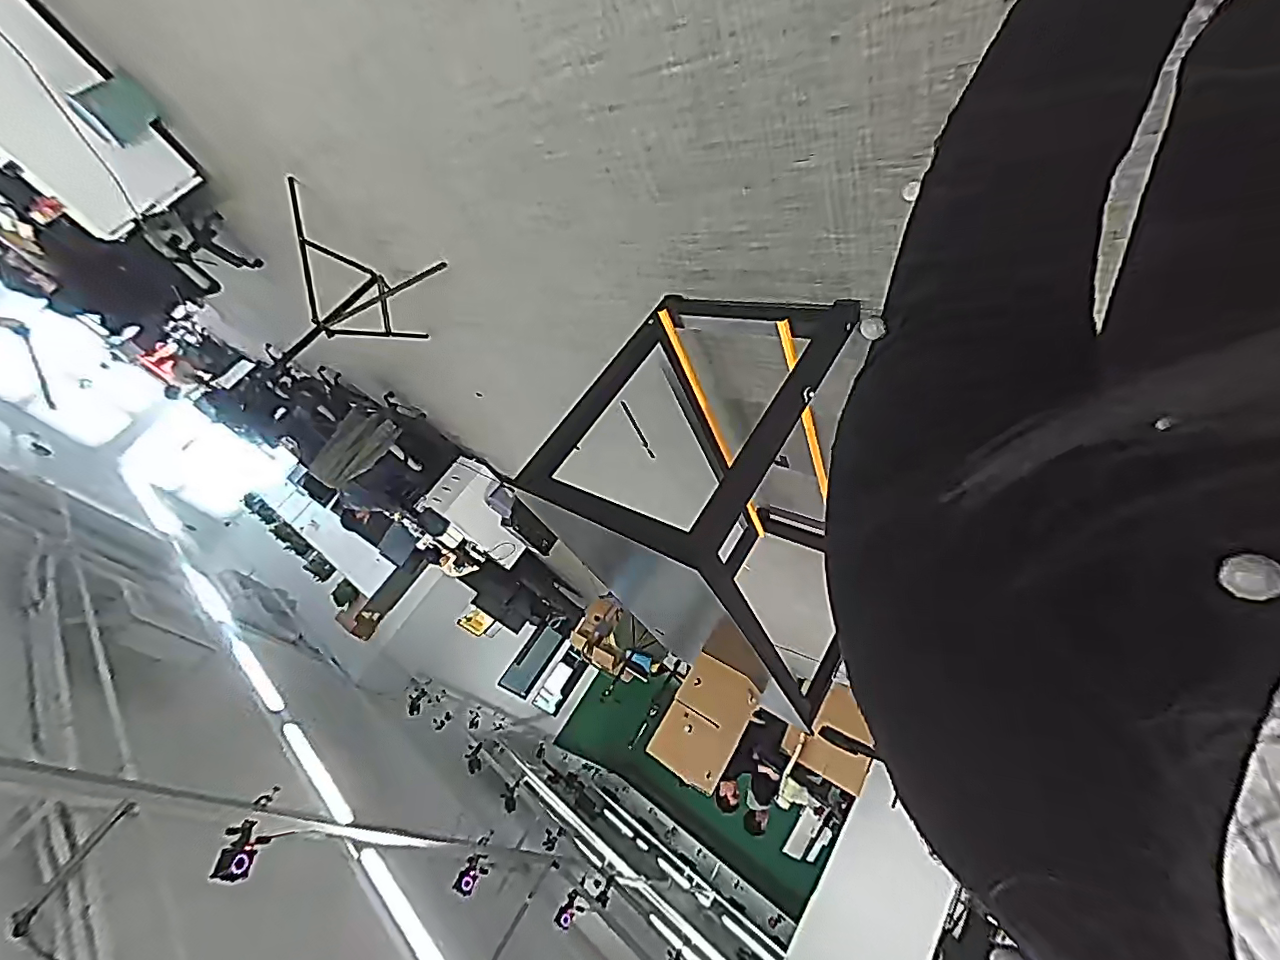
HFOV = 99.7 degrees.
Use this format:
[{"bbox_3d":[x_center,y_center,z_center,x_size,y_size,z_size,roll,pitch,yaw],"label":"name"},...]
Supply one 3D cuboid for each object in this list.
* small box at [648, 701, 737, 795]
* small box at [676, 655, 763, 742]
[{"bbox_3d":[0.162,0.790,1.603,0.168,0.176,0.179,17,154,43],"label":"small box"},{"bbox_3d":[0.249,0.660,1.657,0.179,0.176,0.168,16,154,42],"label":"small box"}]
